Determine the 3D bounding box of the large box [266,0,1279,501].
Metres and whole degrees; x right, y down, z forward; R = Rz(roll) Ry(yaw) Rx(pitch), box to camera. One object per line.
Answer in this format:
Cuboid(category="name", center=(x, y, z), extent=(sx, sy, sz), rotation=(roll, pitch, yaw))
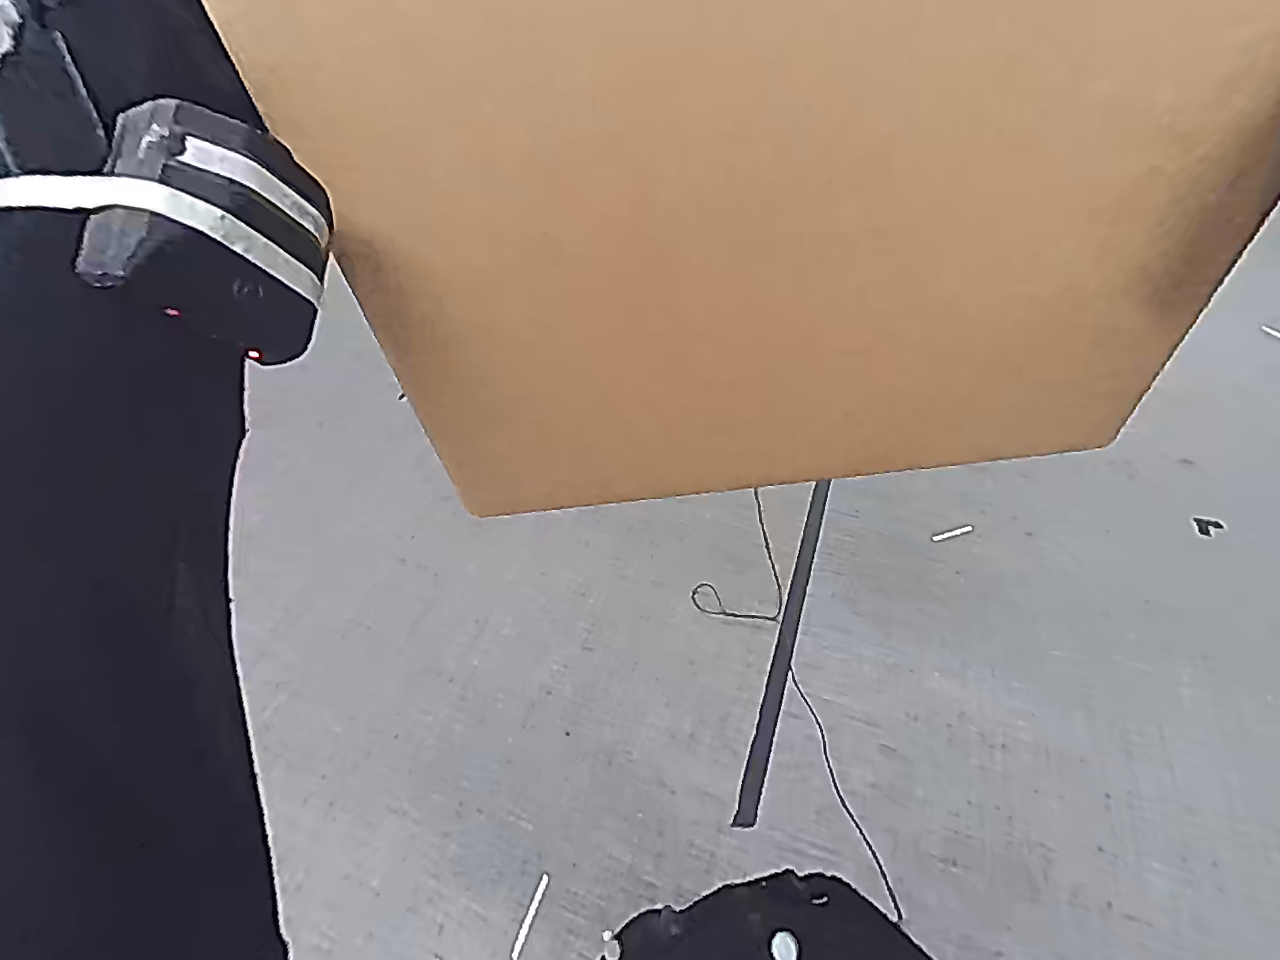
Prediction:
Cuboid(category="large box", center=(0.067, -0.215, 0.353), extent=(0.408, 0.320, 0.320), rotation=(-6, 46, 1))
